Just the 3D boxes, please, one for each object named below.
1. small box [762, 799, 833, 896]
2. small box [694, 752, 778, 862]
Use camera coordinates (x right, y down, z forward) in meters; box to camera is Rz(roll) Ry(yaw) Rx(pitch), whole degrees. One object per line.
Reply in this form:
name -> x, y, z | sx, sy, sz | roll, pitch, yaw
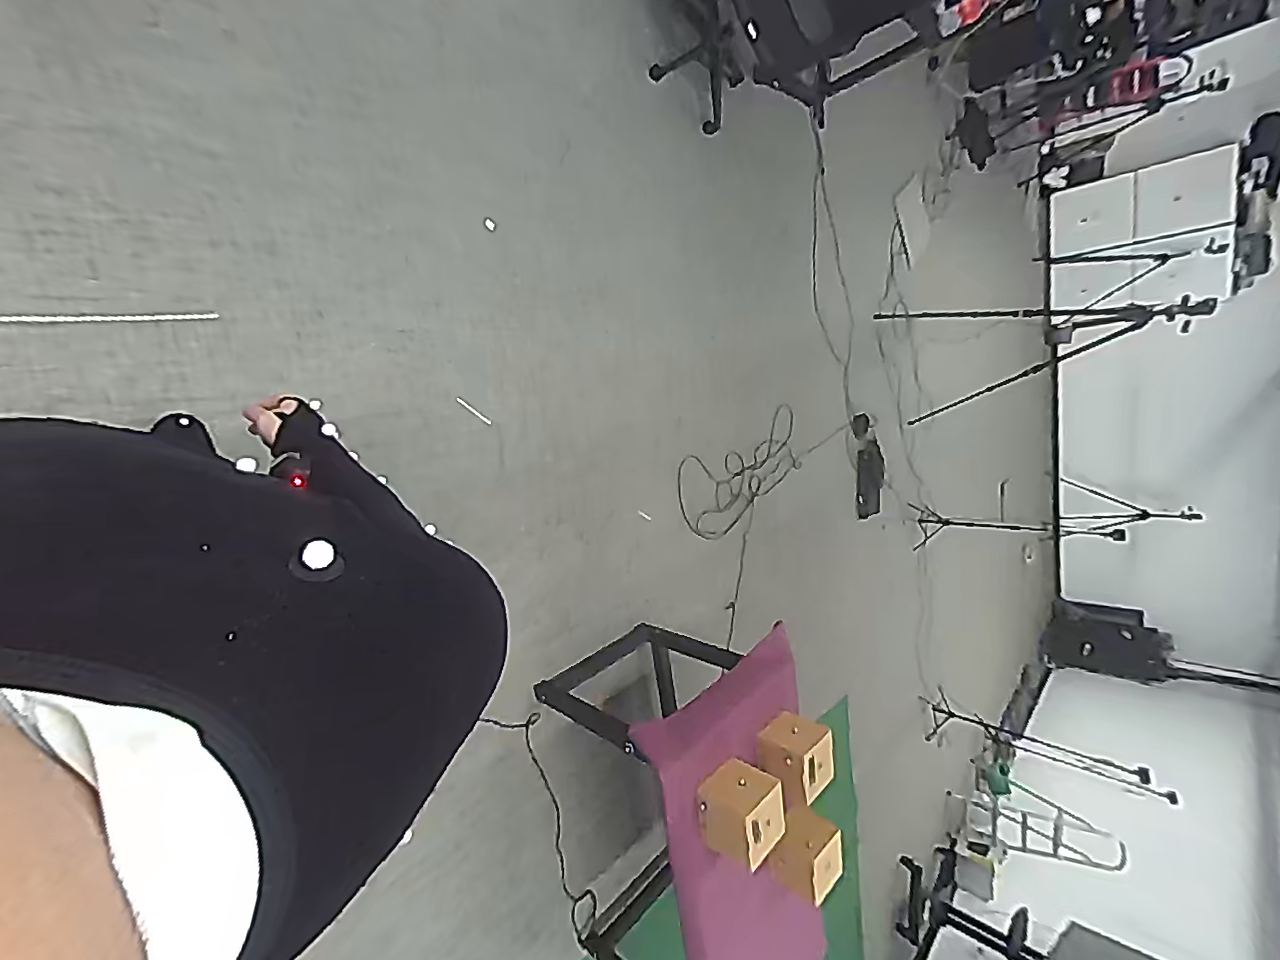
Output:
small box -> 0.519, 1.202, 1.786 | 0.179, 0.176, 0.168 | -13, 102, -42
small box -> 0.265, 0.907, 1.519 | 0.179, 0.176, 0.168 | -16, 104, -44
